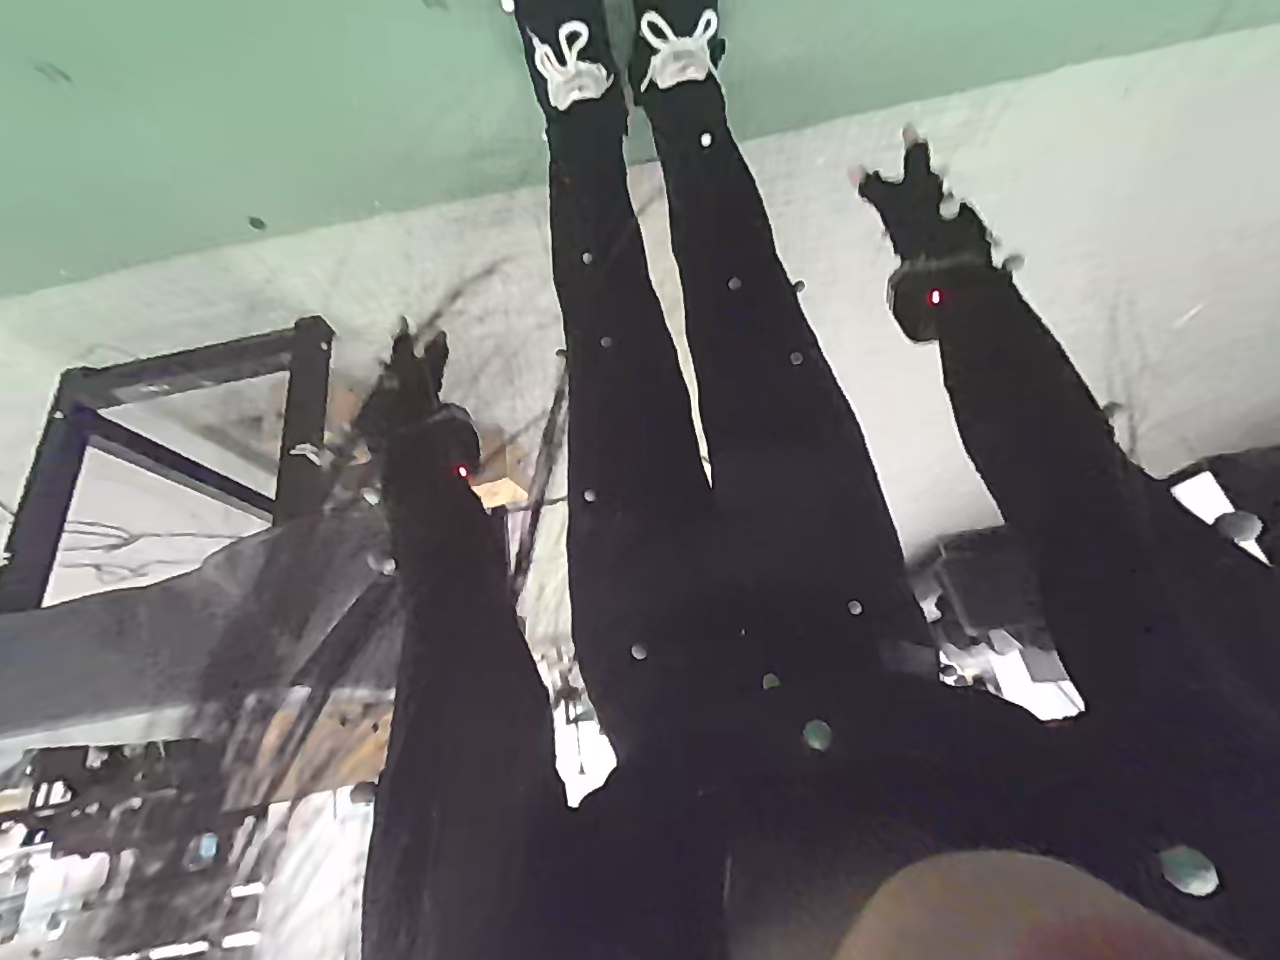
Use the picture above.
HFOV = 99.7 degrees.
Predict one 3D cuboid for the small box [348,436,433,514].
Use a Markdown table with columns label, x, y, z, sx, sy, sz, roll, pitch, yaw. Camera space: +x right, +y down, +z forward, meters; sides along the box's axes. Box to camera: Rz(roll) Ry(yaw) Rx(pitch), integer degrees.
| label | x | y | z | sx | sy | sz | roll | pitch | yaw |
| --- | --- | --- | --- | --- | --- | --- | --- | --- | --- |
| small box | -0.727 | -0.020 | 1.587 | 0.168 | 0.176 | 0.179 | -11 | 157 | 4 |

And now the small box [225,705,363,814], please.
| label | x | y | z | sx | sy | sz | roll | pitch | yaw |
| --- | --- | --- | --- | --- | --- | --- | --- | --- | --- |
| small box | -0.697 | 0.567 | 1.113 | 0.179 | 0.176 | 0.168 | -12 | 157 | 5 |
